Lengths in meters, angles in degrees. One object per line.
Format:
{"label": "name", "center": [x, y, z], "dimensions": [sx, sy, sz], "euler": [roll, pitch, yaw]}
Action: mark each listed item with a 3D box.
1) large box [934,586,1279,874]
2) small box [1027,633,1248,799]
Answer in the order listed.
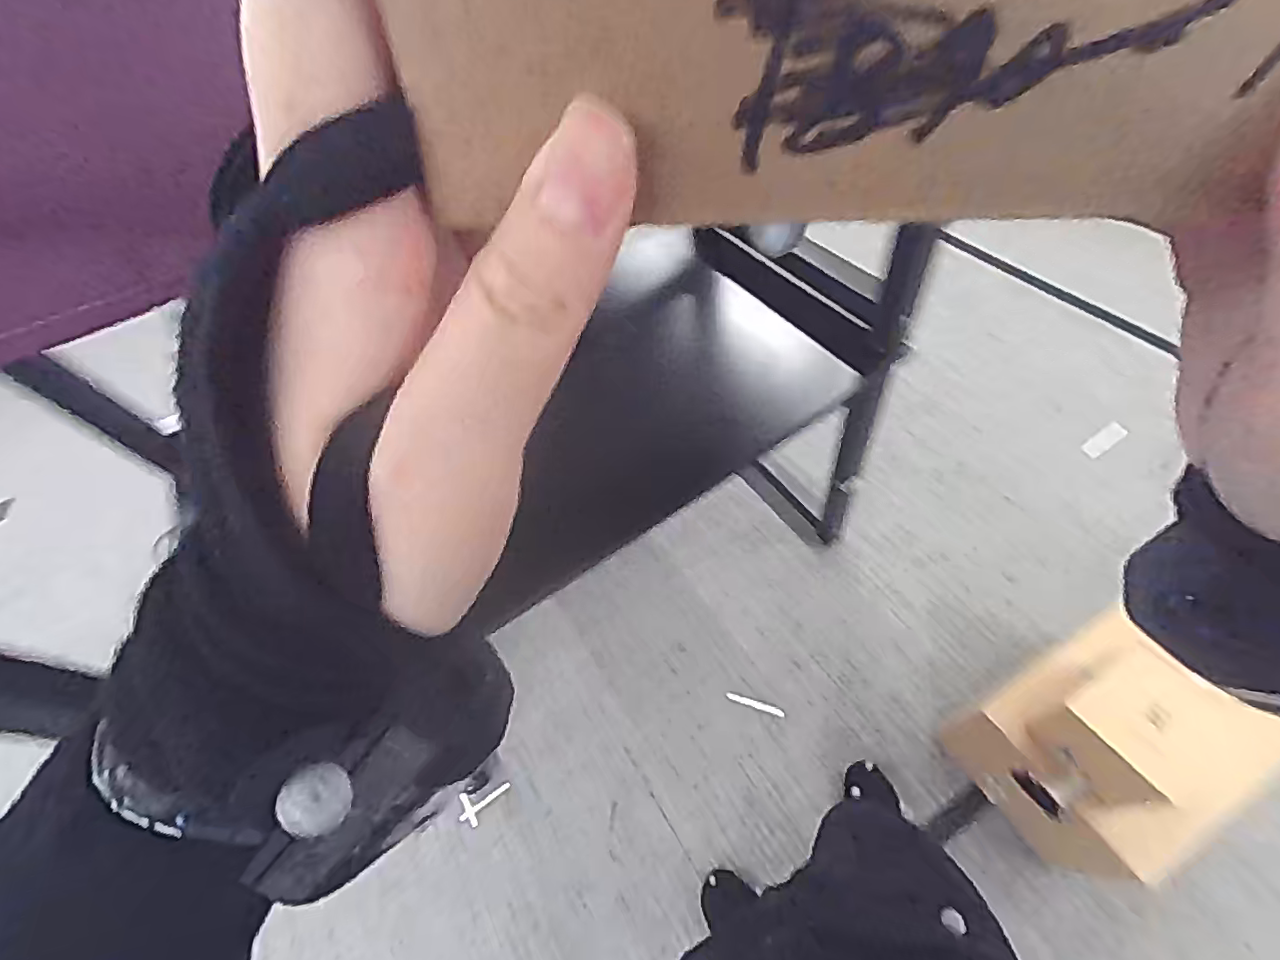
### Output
{"label": "large box", "center": [0.889, 0.493, 1.078], "dimensions": [0.408, 0.320, 0.320], "euler": [-32, 59, -10]}
{"label": "small box", "center": [0.780, 0.384, 0.874], "dimensions": [0.179, 0.176, 0.168], "euler": [-33, 56, -10]}
